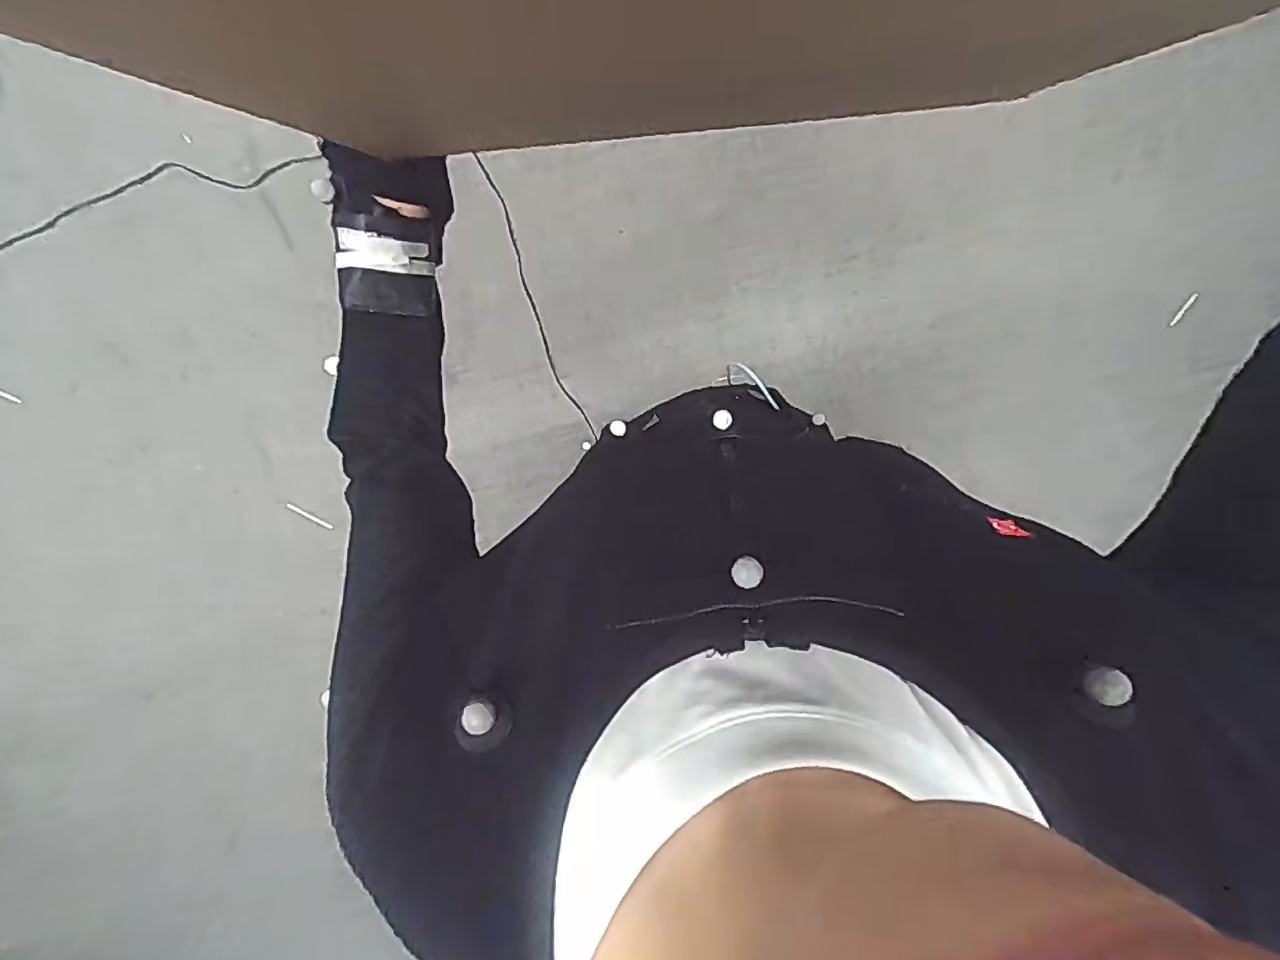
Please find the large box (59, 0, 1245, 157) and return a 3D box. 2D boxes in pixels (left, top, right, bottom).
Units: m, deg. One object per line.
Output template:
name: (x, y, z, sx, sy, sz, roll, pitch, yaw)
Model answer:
large box: (0.039, -0.298, 0.134, 0.408, 0.320, 0.320, -6, 115, -1)
